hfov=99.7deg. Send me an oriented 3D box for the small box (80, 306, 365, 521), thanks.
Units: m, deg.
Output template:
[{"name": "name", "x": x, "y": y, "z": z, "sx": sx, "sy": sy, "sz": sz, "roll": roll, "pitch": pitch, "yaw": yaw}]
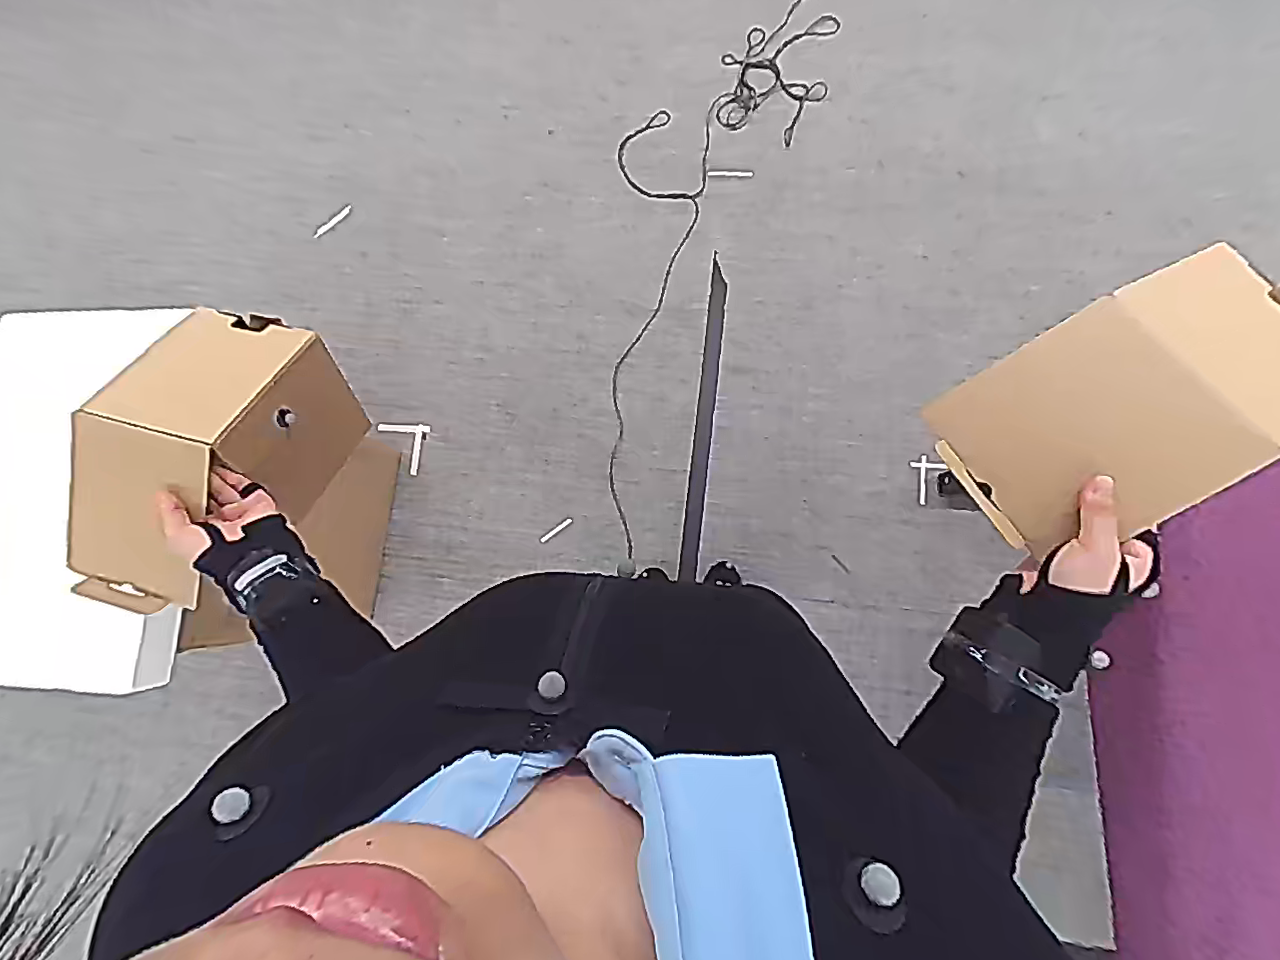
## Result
[{"name": "small box", "x": -0.469, "y": -0.074, "z": 0.647, "sx": 0.168, "sy": 0.176, "sz": 0.179, "roll": 14, "pitch": 55, "yaw": 8}]
